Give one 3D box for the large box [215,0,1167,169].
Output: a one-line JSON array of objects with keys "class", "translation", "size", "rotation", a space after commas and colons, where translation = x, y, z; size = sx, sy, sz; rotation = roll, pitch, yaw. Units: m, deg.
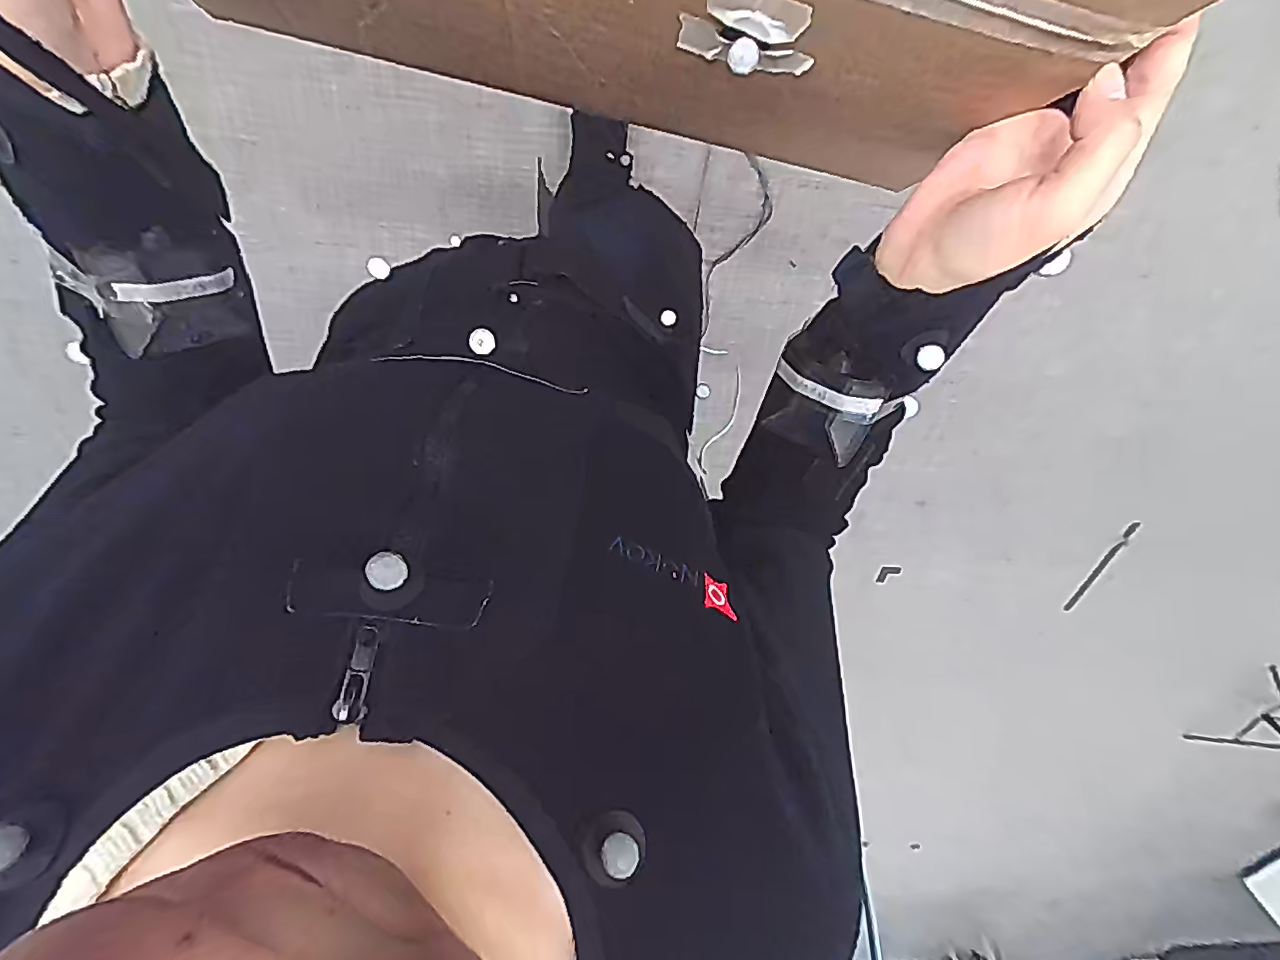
[{"class": "large box", "translation": [0.010, -0.344, 0.147], "size": [0.408, 0.320, 0.320], "rotation": [8, 100, -8]}]
